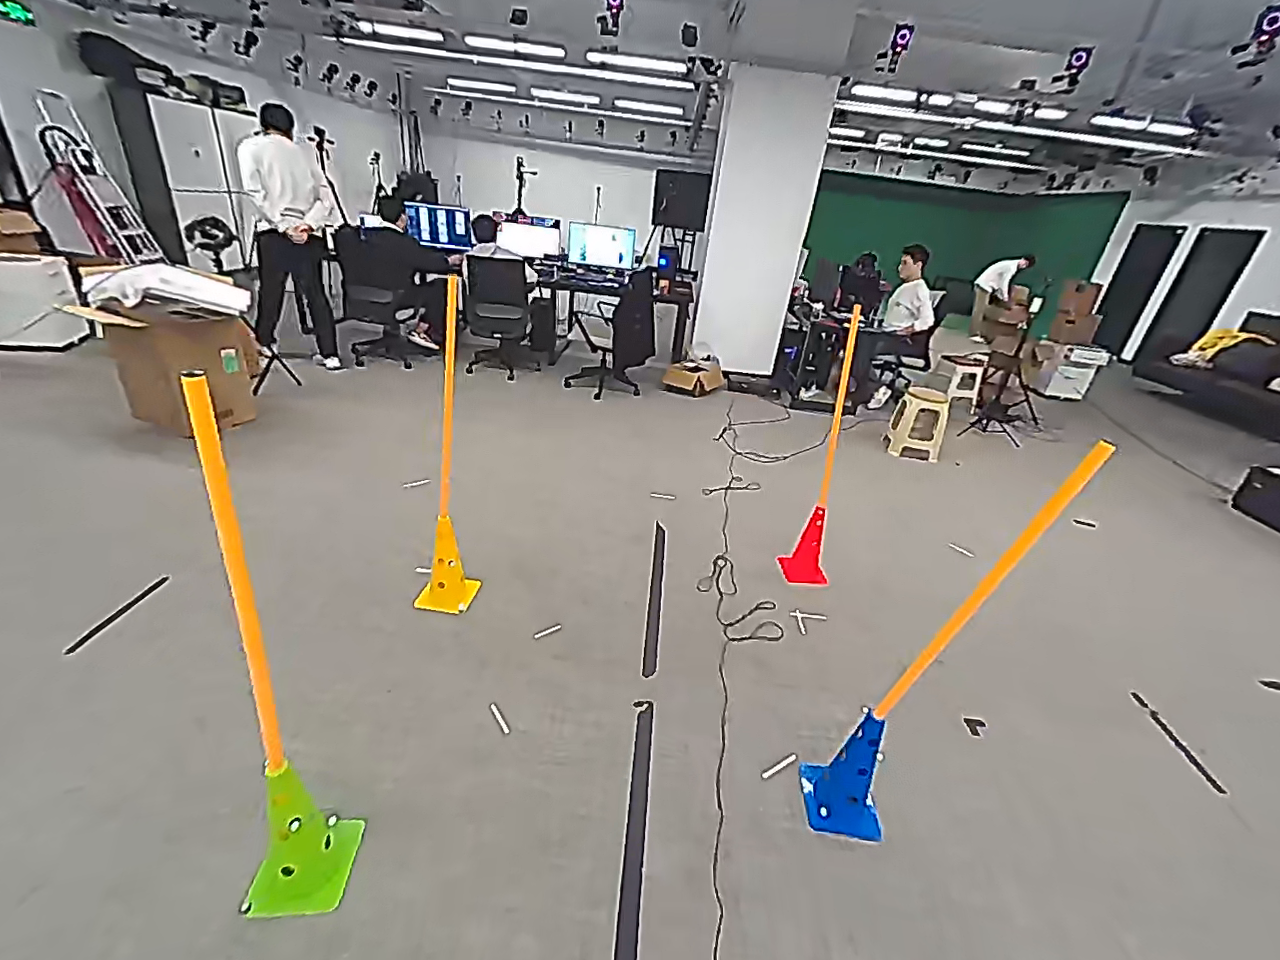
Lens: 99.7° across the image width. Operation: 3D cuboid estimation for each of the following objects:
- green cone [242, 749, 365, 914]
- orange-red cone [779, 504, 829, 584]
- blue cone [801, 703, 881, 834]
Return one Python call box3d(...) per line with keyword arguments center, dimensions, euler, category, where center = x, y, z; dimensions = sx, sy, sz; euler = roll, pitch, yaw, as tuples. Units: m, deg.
box3d(center=(-0.749, 0.730, 1.176), dimensions=(0.200, 0.368, 0.202), euler=(3, 25, -9), category="green cone")
box3d(center=(0.781, 0.272, 2.448), dimensions=(0.199, 0.360, 0.198), euler=(4, 26, -3), category="orange-red cone")
box3d(center=(0.584, 0.760, 1.469), dimensions=(0.193, 0.380, 0.192), euler=(9, 26, 3), category="blue cone")
